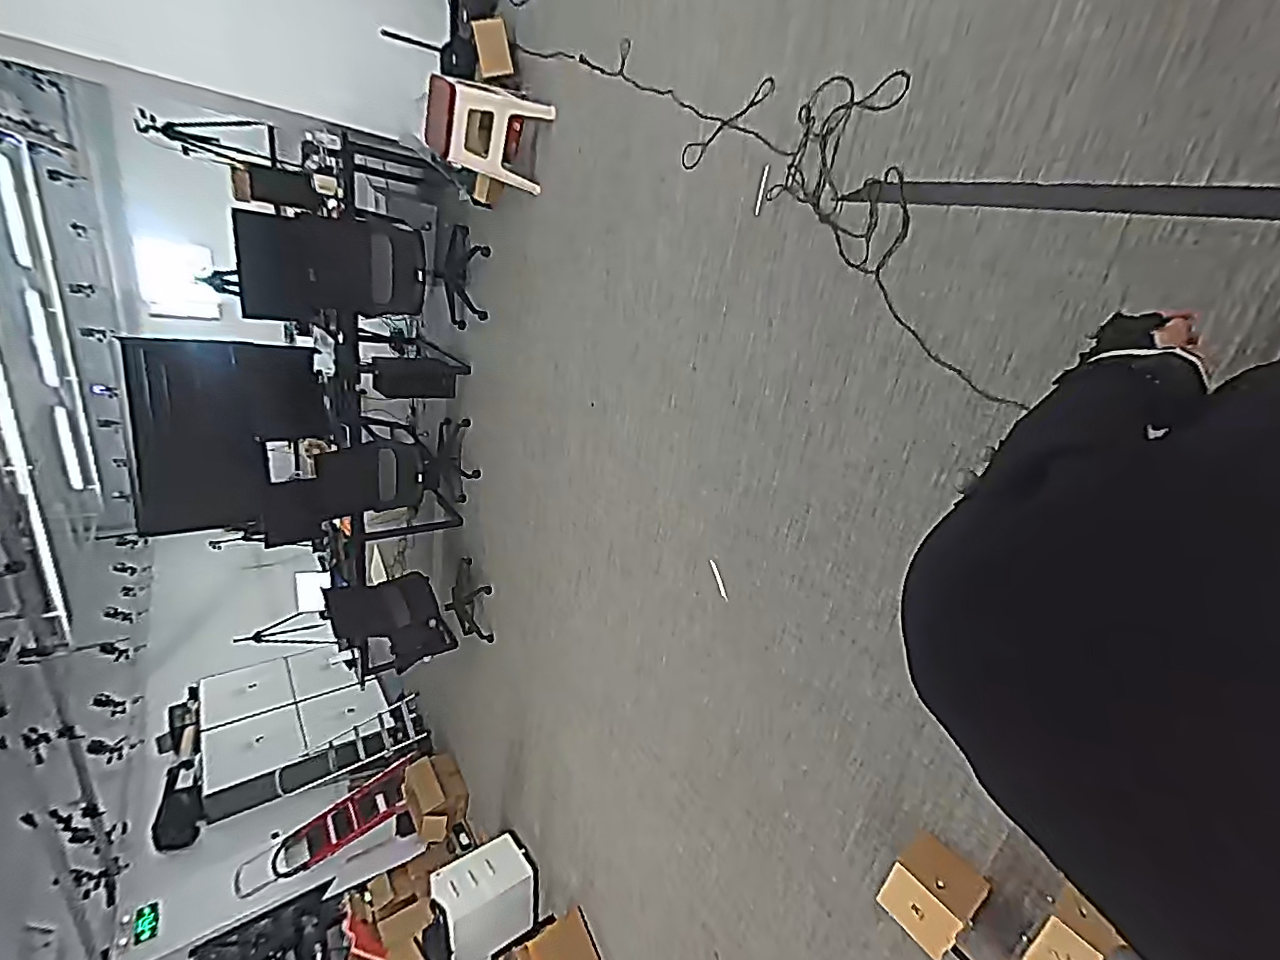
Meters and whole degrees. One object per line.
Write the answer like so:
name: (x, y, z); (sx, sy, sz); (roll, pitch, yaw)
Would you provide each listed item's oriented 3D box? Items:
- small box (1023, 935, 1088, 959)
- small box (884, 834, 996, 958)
small box: (0.954, 1.182, 1.216); (0.179, 0.176, 0.168); (32, 121, 44)
small box: (0.785, 1.072, 1.416); (0.179, 0.176, 0.168); (34, 122, 44)
